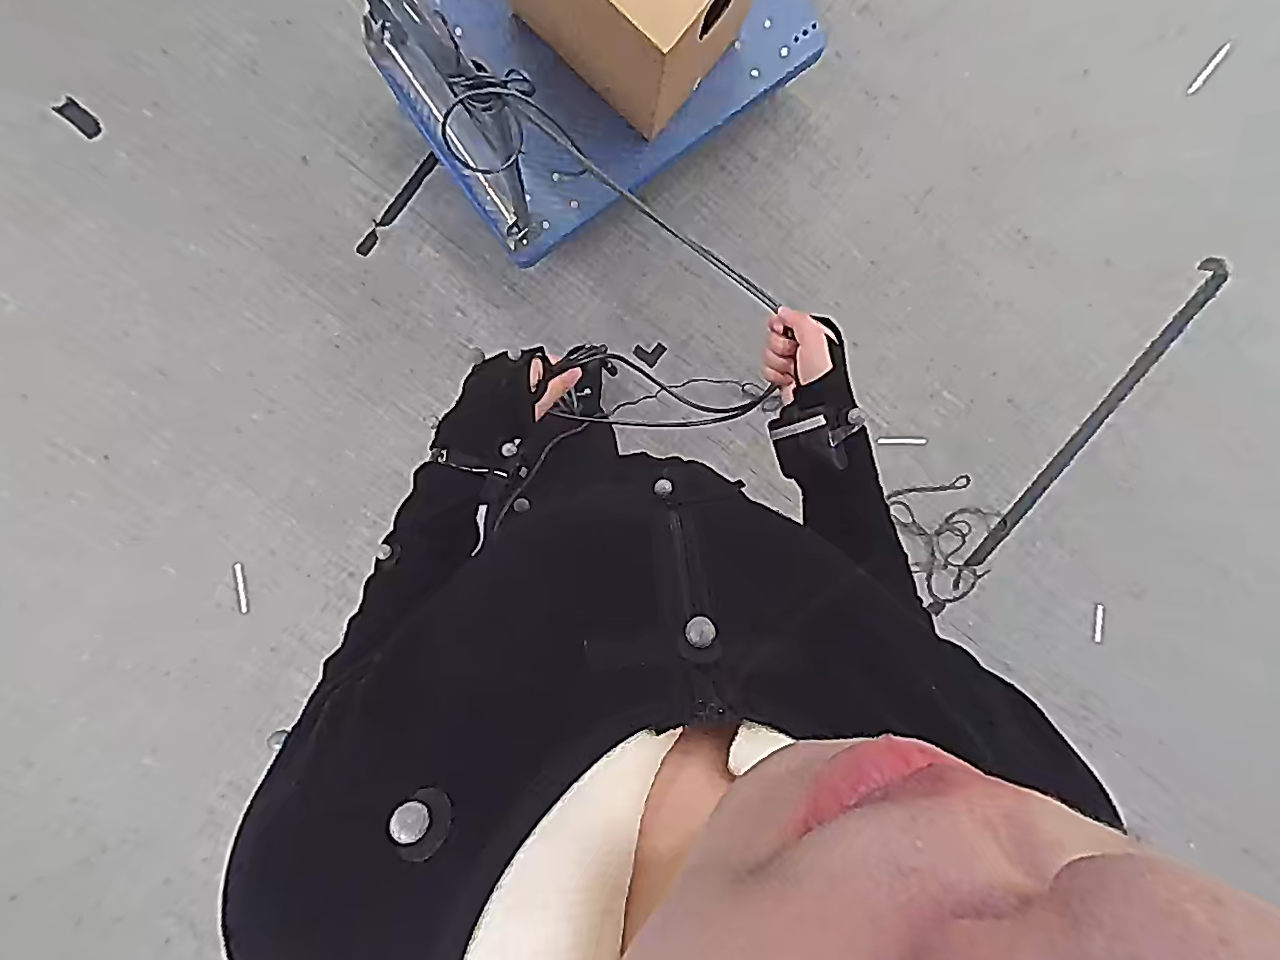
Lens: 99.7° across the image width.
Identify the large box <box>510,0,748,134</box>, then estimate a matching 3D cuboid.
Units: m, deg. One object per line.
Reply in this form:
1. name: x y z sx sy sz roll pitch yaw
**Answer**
1. large box: -0.019 -0.984 1.024 0.408 0.320 0.320 39 95 -9
